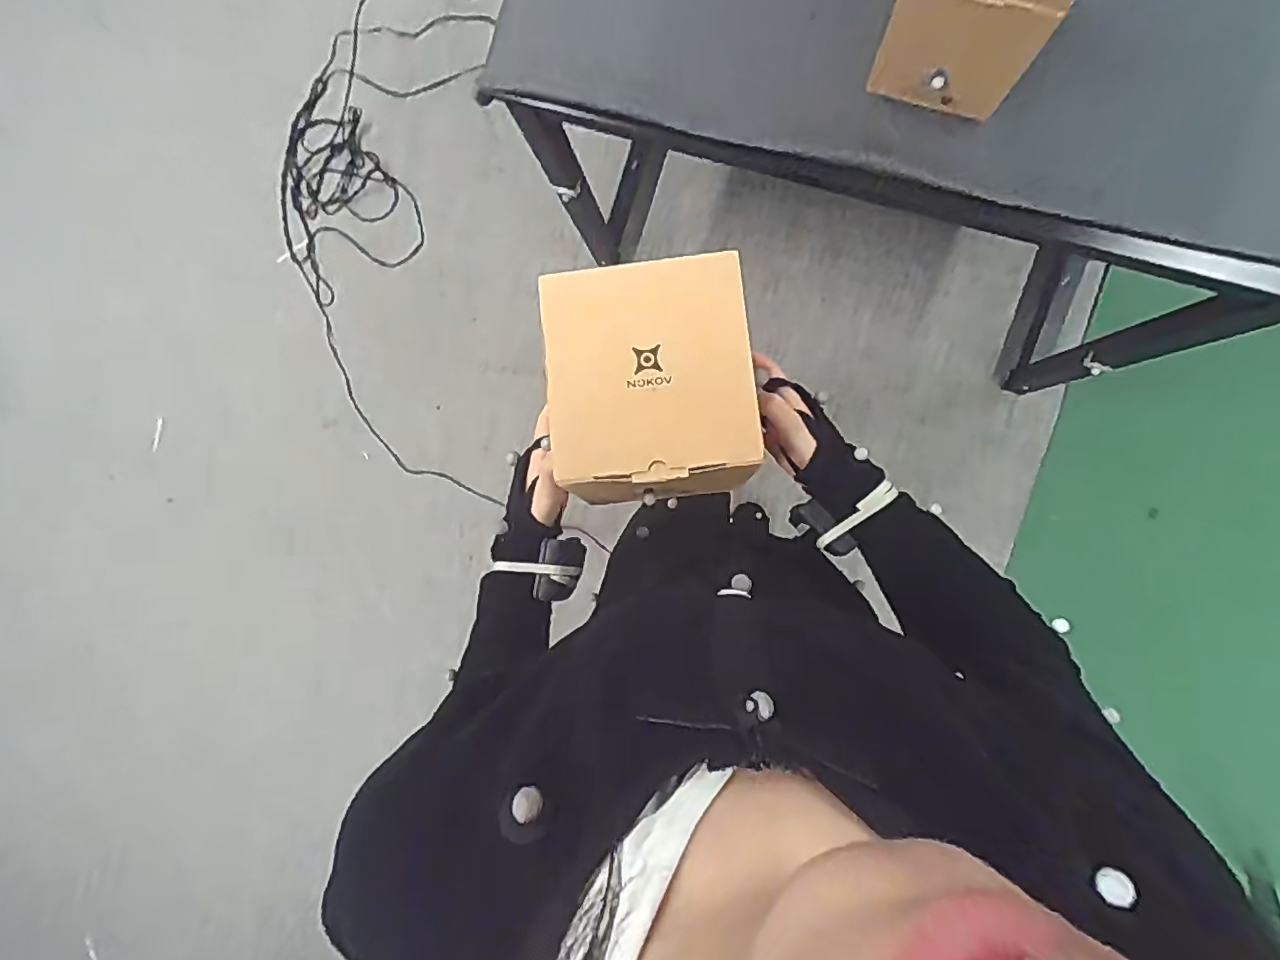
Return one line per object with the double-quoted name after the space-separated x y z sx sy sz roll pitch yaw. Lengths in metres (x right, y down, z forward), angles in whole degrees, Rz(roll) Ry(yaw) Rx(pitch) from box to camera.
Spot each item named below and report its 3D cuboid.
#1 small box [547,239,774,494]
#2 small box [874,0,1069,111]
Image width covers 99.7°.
0.017 -0.088 0.499 0.168 0.176 0.179 -6 83 3 "small box"
0.399 -0.589 0.634 0.168 0.176 0.179 20 92 8 "small box"
